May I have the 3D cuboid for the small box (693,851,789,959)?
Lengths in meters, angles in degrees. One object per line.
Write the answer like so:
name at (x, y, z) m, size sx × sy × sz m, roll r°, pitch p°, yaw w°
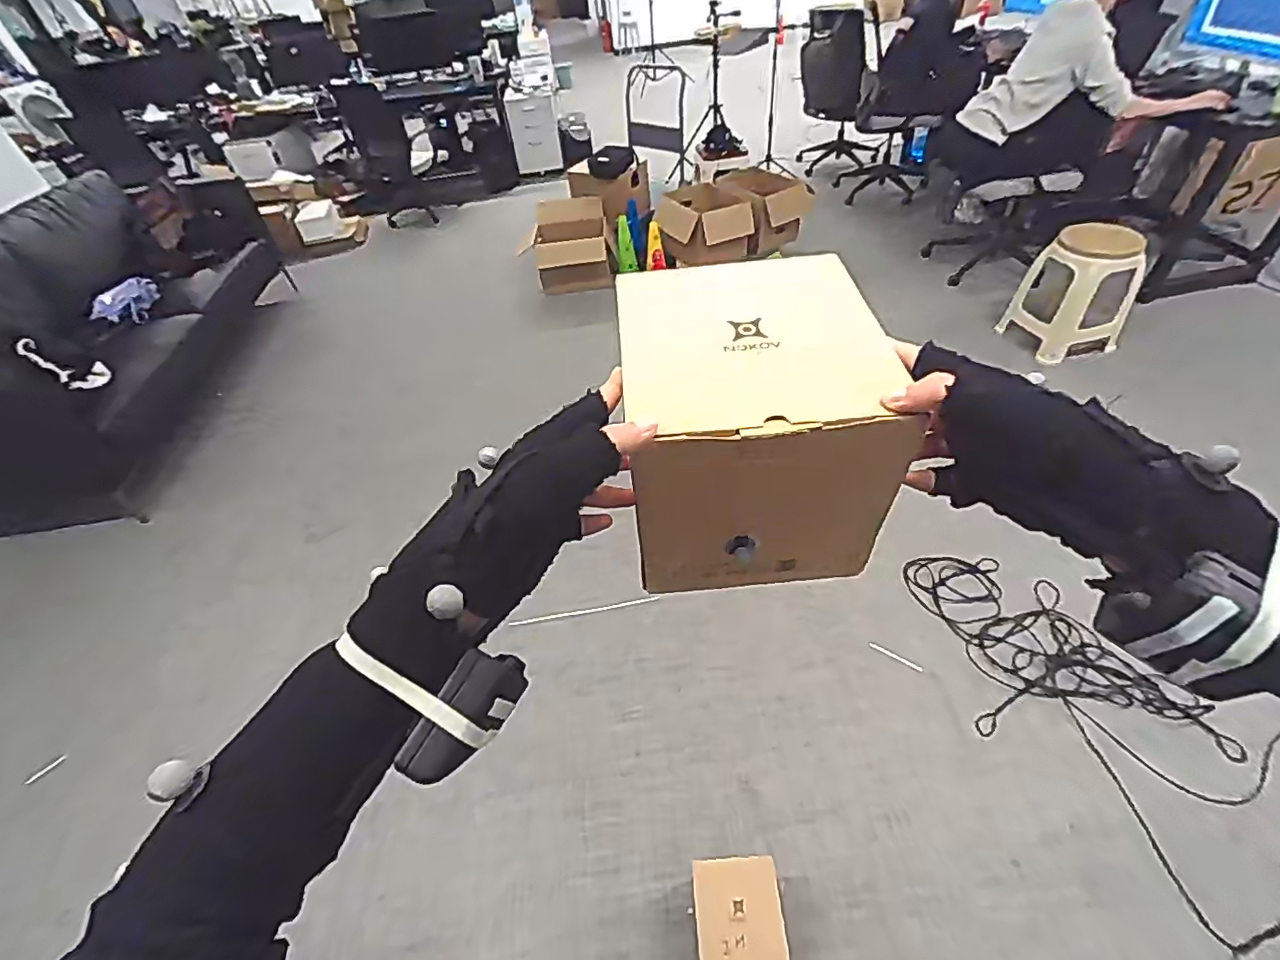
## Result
small box at (0.196, 0.877, 1.096) m, size 0.168 × 0.176 × 0.179 m, roll -6°, pitch 45°, yaw 3°
